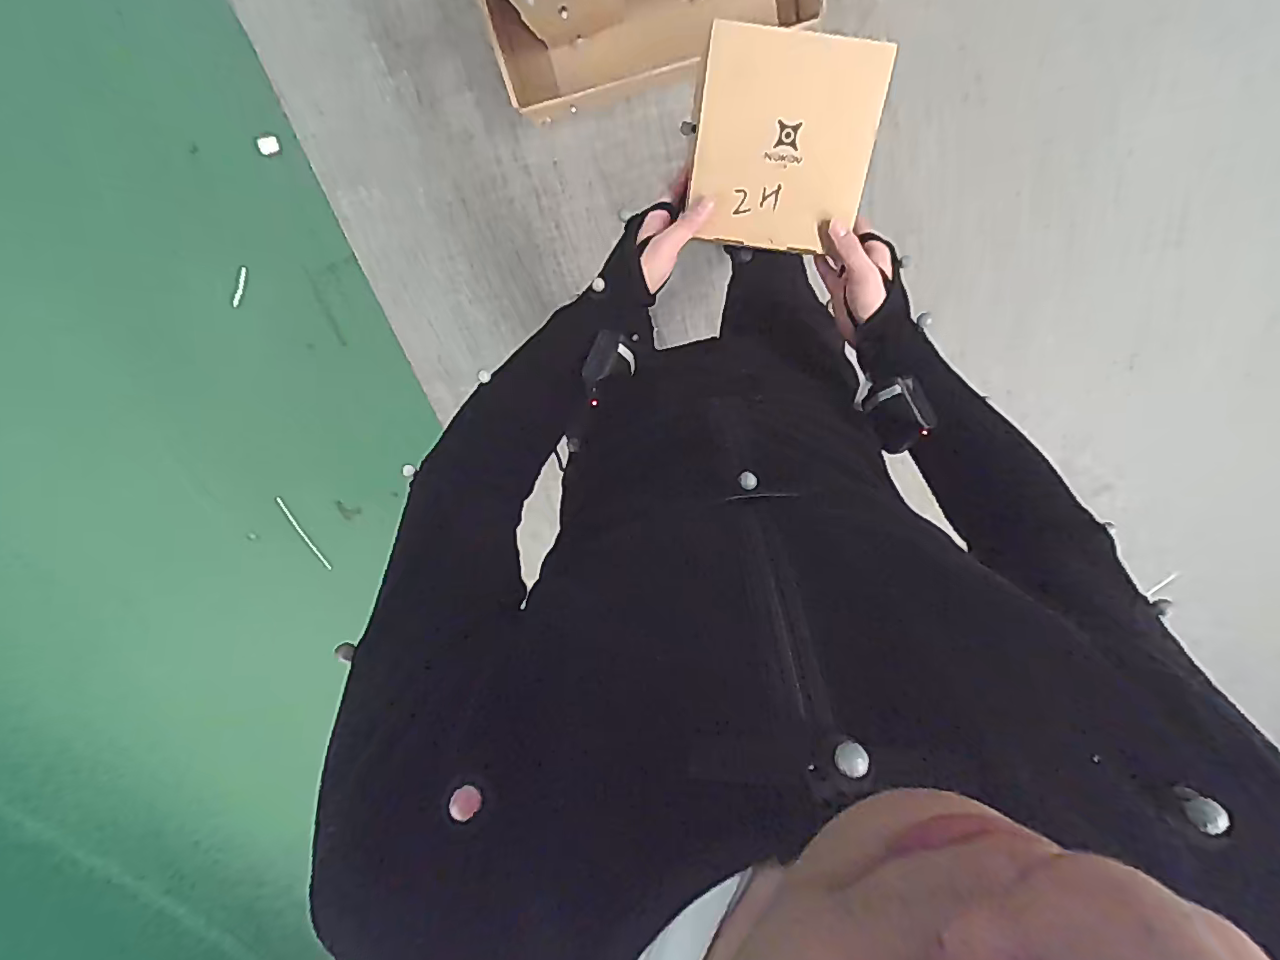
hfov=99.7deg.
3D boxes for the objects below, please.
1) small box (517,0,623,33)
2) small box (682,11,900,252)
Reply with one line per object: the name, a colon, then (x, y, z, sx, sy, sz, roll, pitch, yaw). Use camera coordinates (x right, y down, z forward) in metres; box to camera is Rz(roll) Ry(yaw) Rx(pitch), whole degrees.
small box: (-0.130, -0.860, 0.863, 0.168, 0.176, 0.179, -13, 120, 11)
small box: (0.138, -0.348, 0.575, 0.168, 0.176, 0.179, 7, 114, -2)
